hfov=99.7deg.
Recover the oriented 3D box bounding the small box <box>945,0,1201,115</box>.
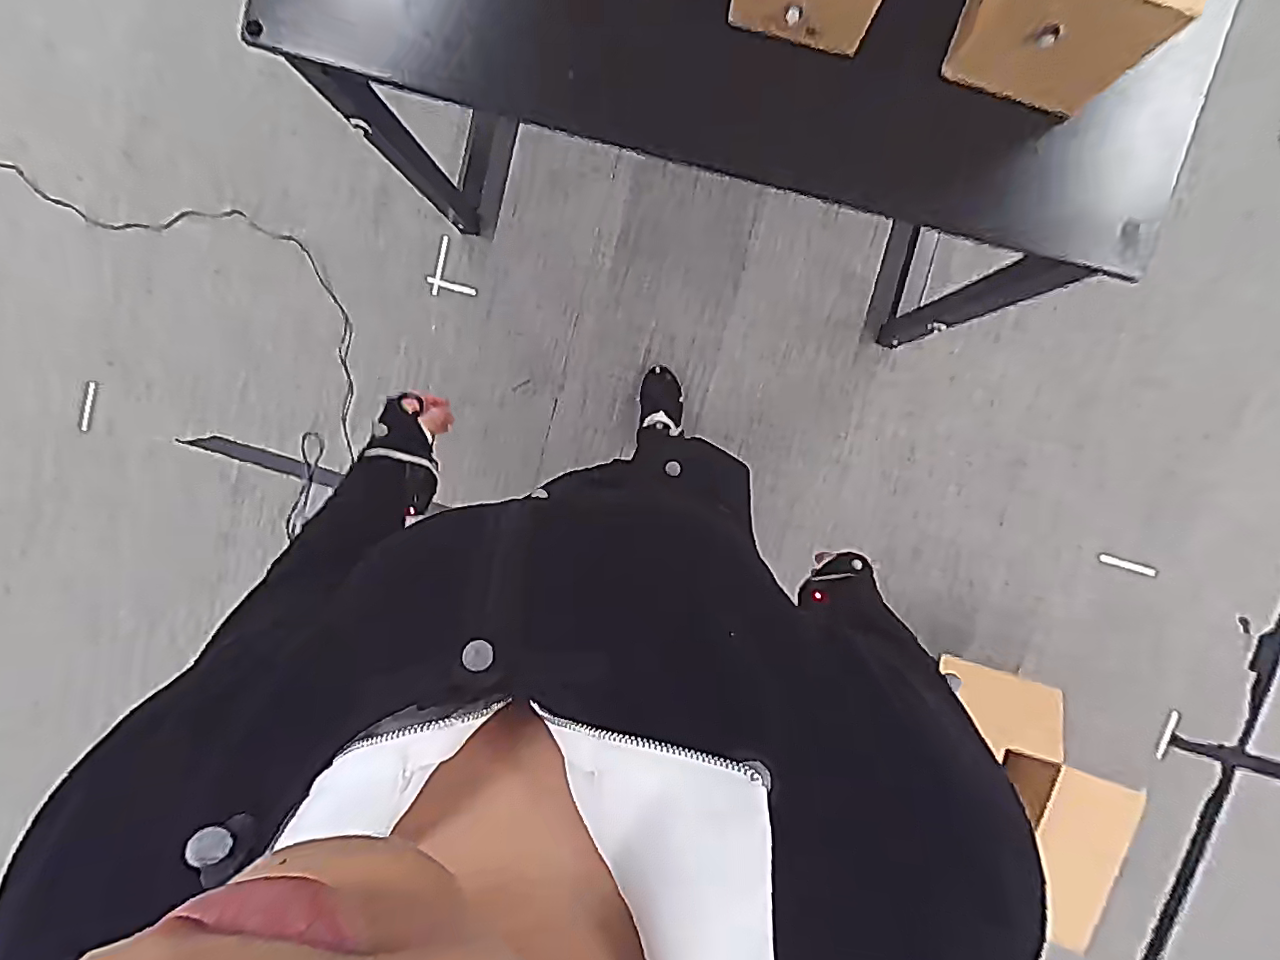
[{"bbox_3d":[0.478,-0.547,0.594,0.179,0.176,0.168,19,95,1],"label":"small box"}]

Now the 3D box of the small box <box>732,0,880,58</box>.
[{"bbox_3d":[0.208,-0.627,0.595,0.168,0.176,0.179,16,96,1],"label":"small box"}]
